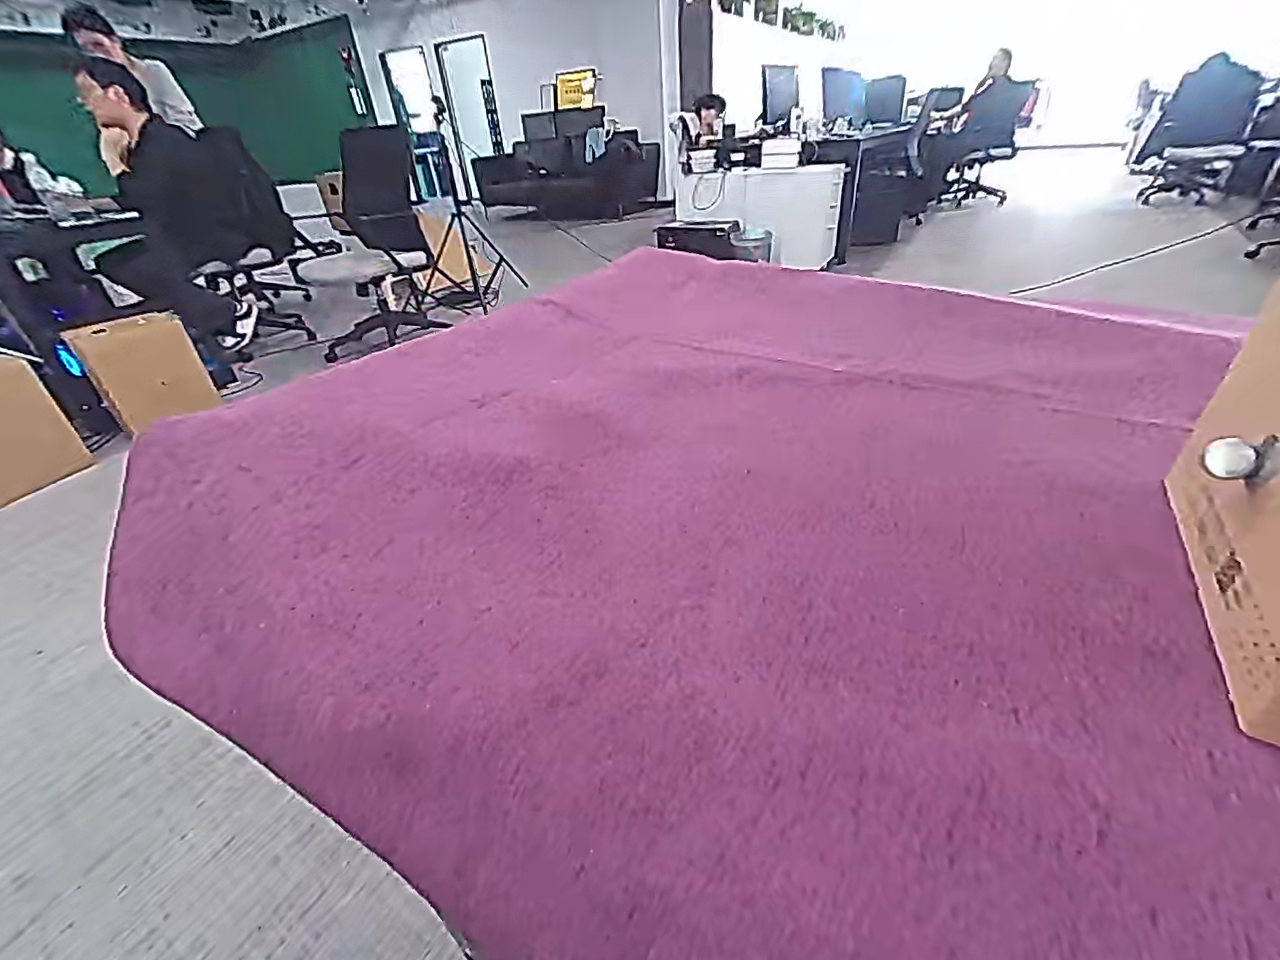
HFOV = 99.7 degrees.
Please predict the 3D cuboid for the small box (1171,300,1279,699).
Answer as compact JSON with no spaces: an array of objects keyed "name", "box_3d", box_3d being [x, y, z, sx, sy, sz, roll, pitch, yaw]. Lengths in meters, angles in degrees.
[{"name":"small box","box_3d":[0.303,-0.015,0.144,0.179,0.176,0.168,16,37,28]}]
